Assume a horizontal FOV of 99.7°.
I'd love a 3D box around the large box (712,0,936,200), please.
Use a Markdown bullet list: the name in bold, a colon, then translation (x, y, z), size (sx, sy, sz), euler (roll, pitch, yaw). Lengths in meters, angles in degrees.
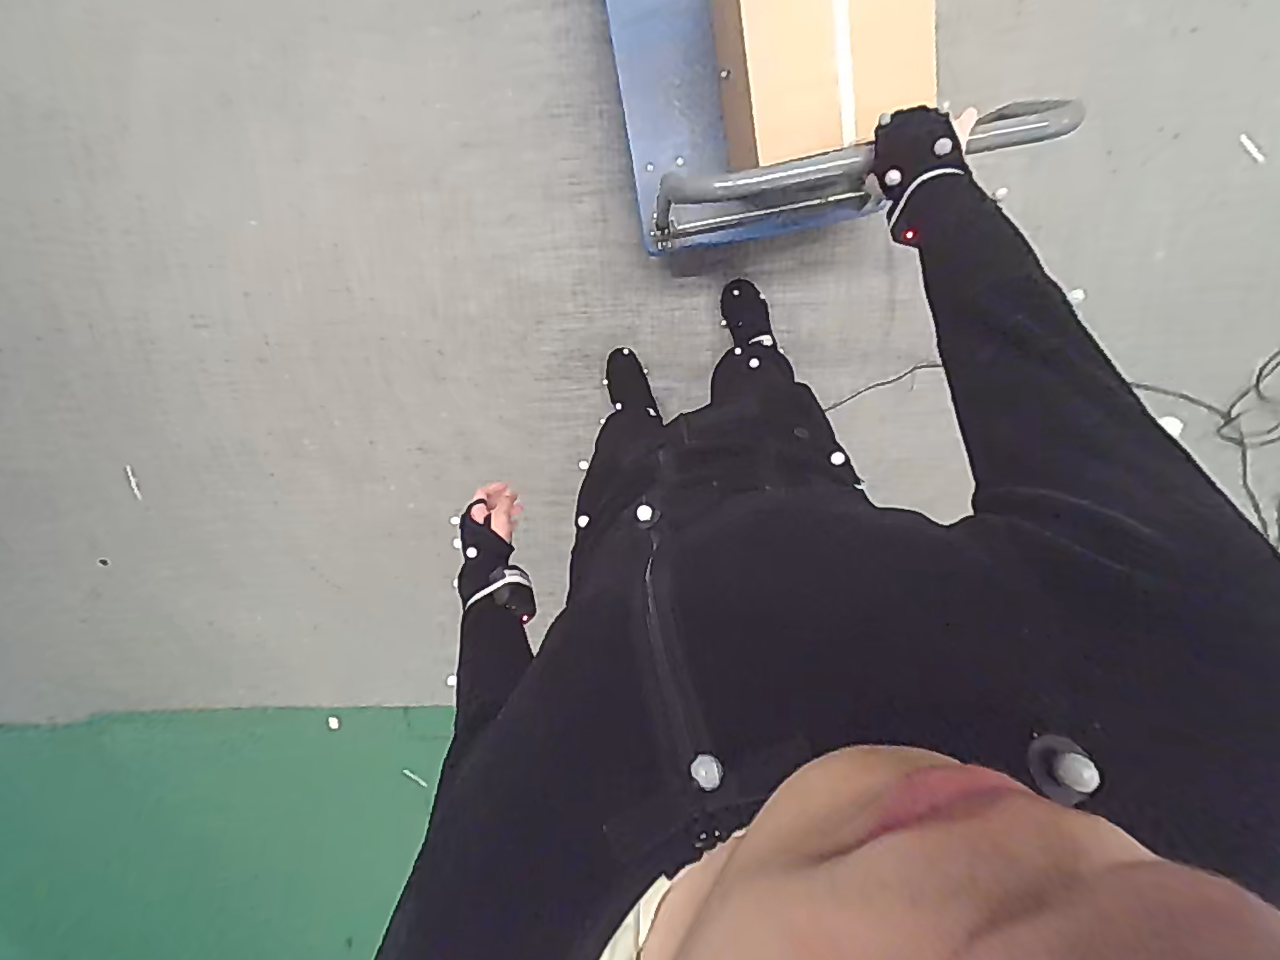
- **large box**: translation (0.332, -0.815, 1.043), size (0.320, 0.320, 0.408), euler (-11, 107, 4)
